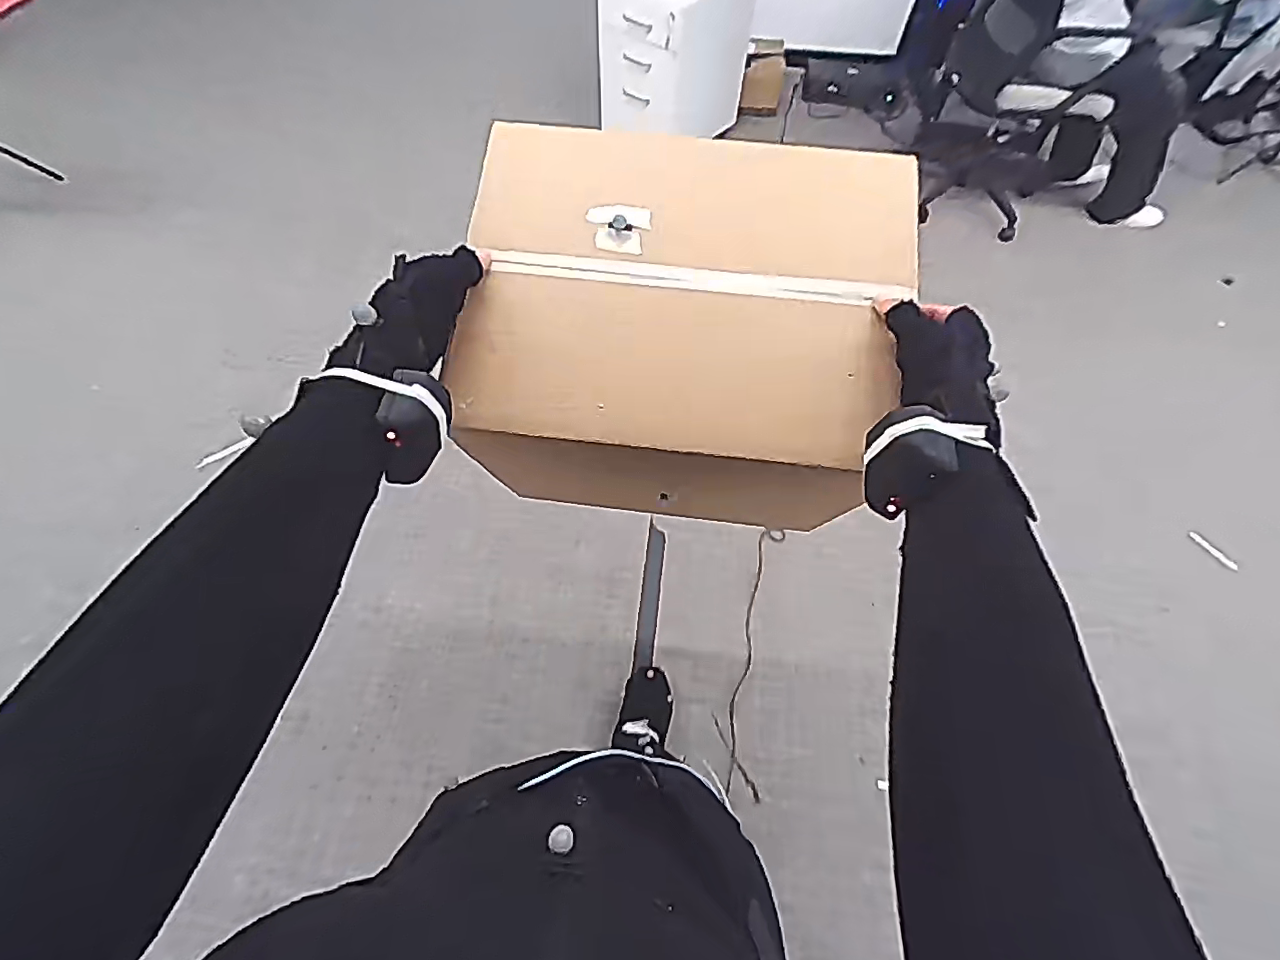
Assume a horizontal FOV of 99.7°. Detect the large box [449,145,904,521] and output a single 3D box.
[{"bbox_3d":[0.048,-0.138,0.646,0.408,0.320,0.320,6,76,3],"label":"large box"}]
